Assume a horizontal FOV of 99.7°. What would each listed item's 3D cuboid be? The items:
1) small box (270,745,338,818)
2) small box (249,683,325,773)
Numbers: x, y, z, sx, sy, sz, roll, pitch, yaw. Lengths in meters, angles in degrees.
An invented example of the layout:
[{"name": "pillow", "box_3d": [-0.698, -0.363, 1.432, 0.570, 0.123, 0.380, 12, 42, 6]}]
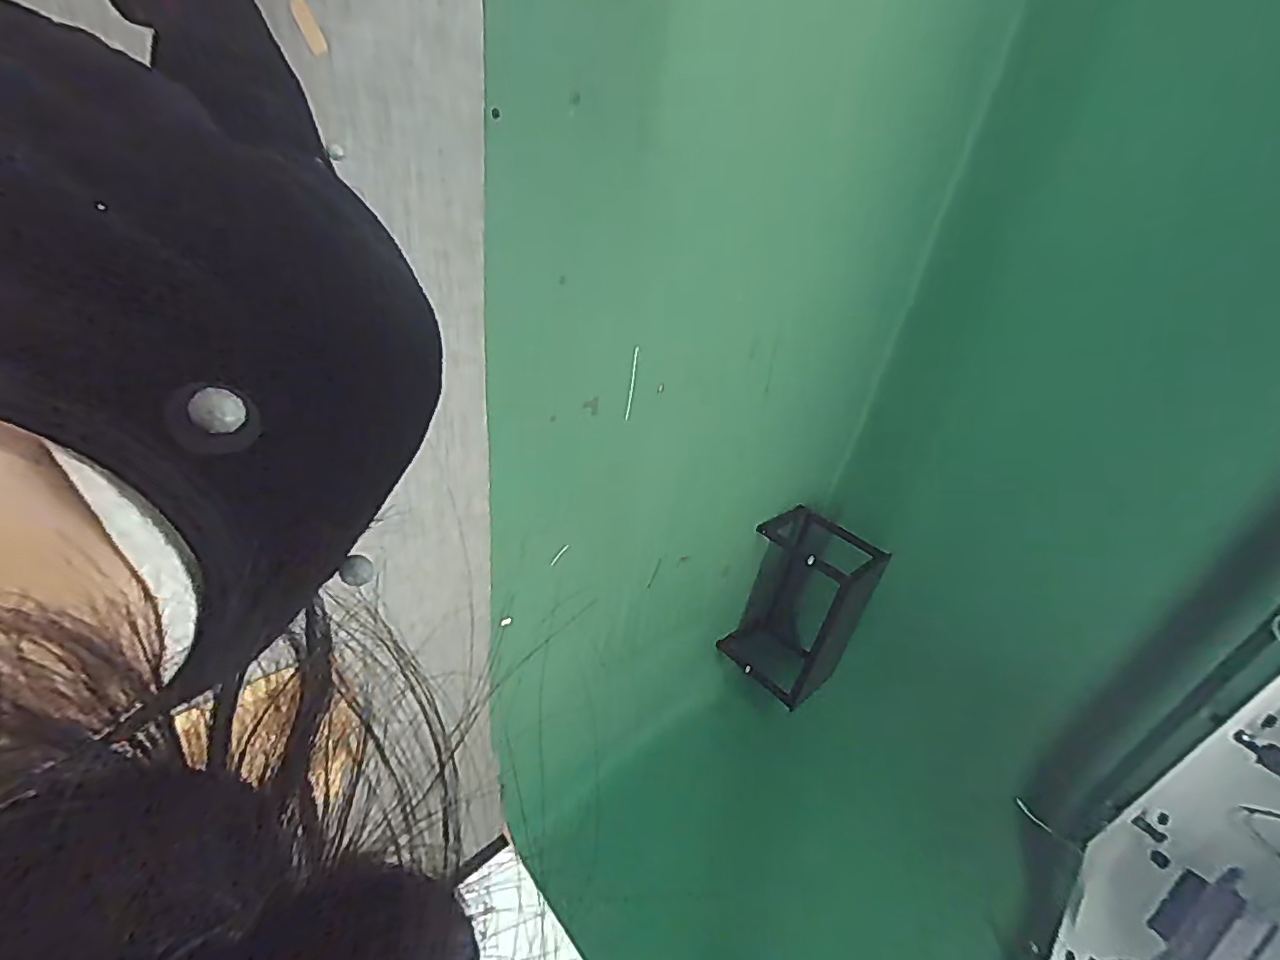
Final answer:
[{"name": "small box", "box_3d": [-1.166, 1.002, 1.863, 0.168, 0.176, 0.179, -19, 131, -40]}, {"name": "small box", "box_3d": [-1.128, 0.779, 1.726, 0.168, 0.176, 0.179, -14, 128, -42]}]
